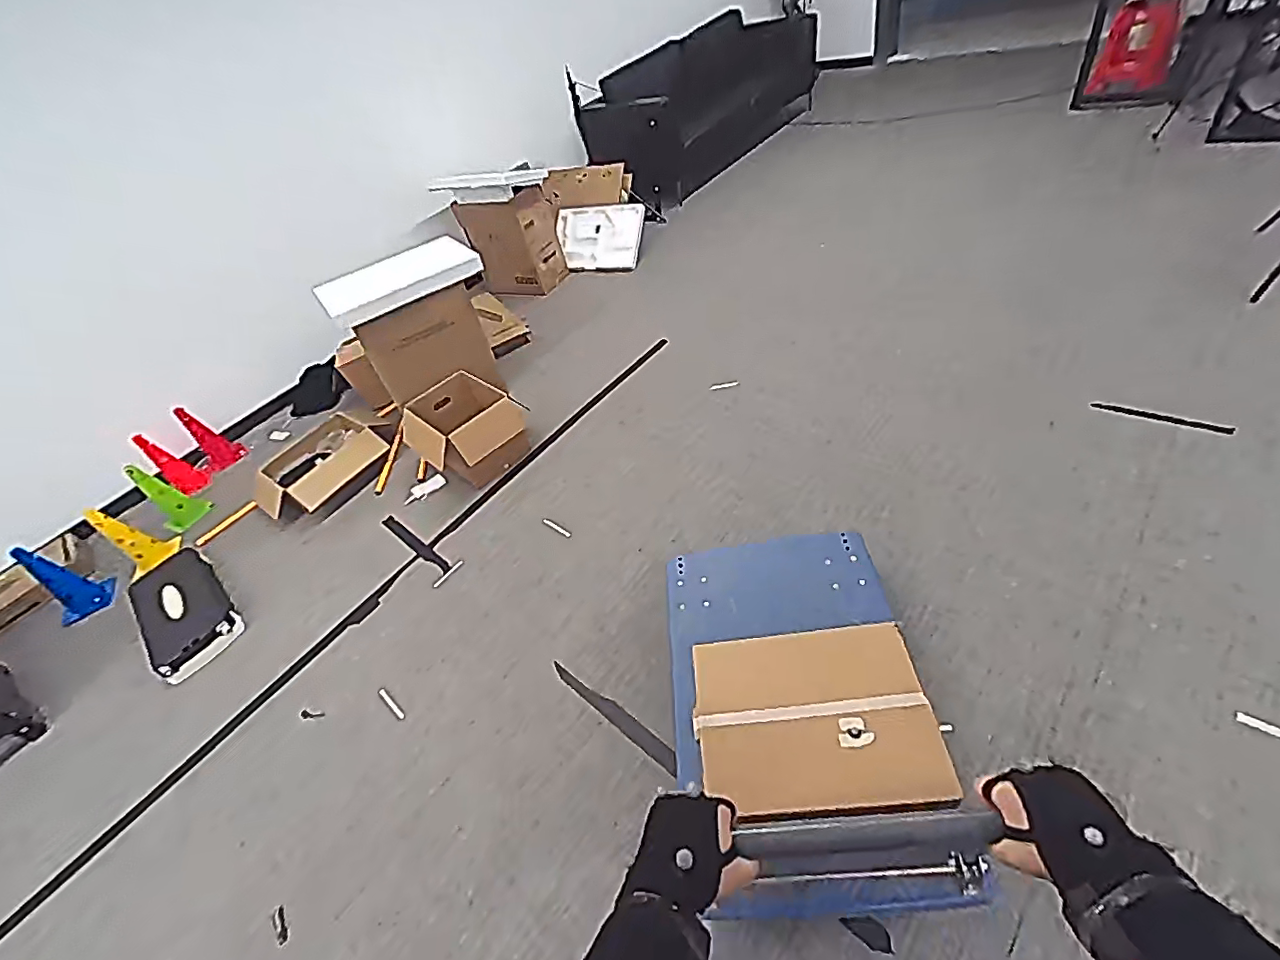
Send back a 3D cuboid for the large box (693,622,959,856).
[{"bbox_3d":[0.336,0.523,1.082,0.408,0.320,0.320,-9,45,7],"label":"large box"}]
